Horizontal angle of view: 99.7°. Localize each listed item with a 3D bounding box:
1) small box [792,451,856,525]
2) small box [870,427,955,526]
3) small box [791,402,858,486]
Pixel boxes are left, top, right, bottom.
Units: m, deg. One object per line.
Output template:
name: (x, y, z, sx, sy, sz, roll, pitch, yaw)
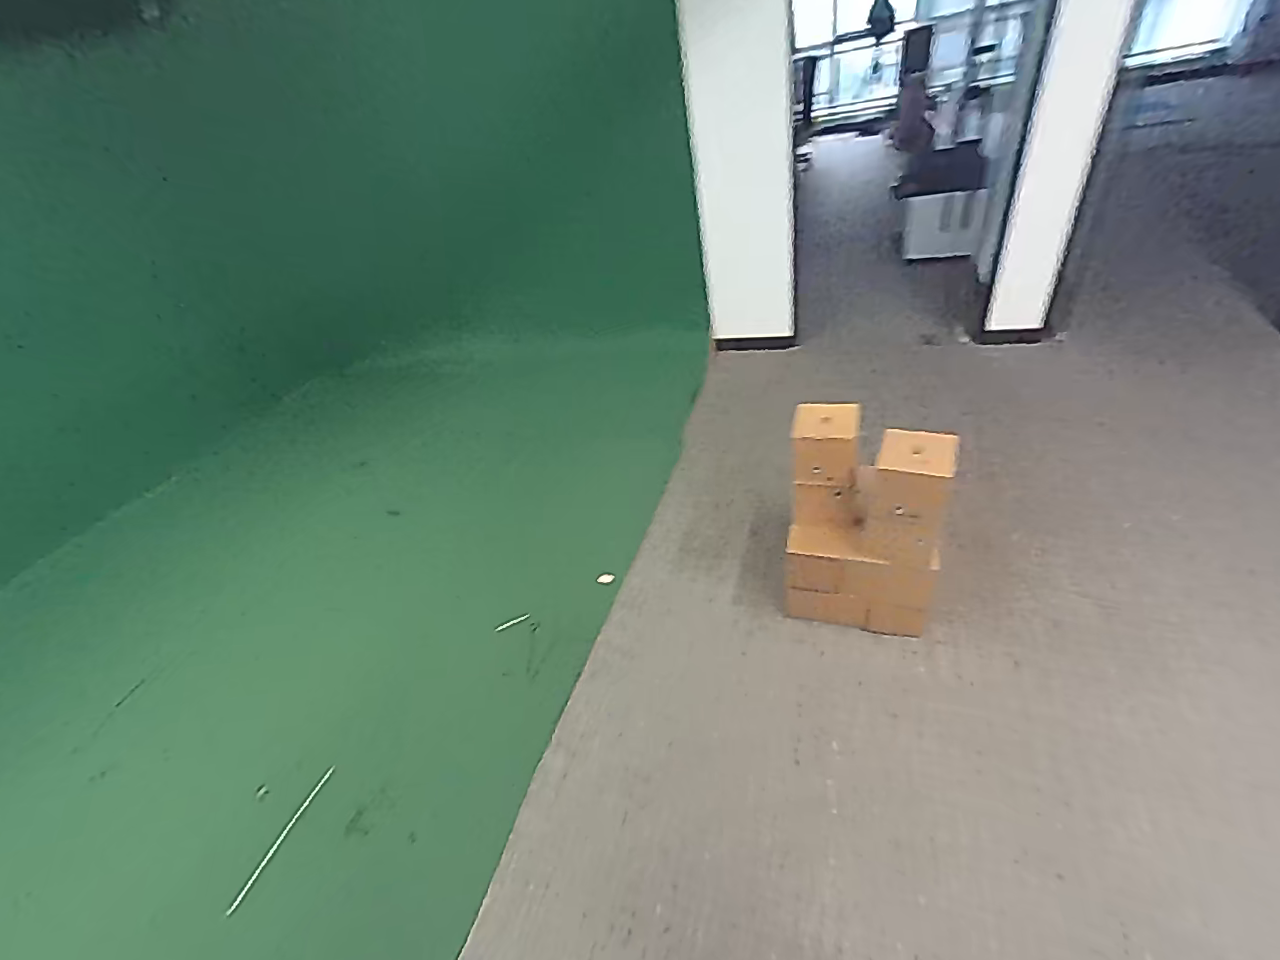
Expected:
small box: (0.563, 0.021, 1.655, 0.179, 0.176, 0.168, 3, 39, 20)
small box: (0.693, -0.011, 1.385, 0.168, 0.176, 0.179, 10, 43, 27)
small box: (0.531, -0.106, 1.558, 0.168, 0.176, 0.179, 4, 41, 22)
